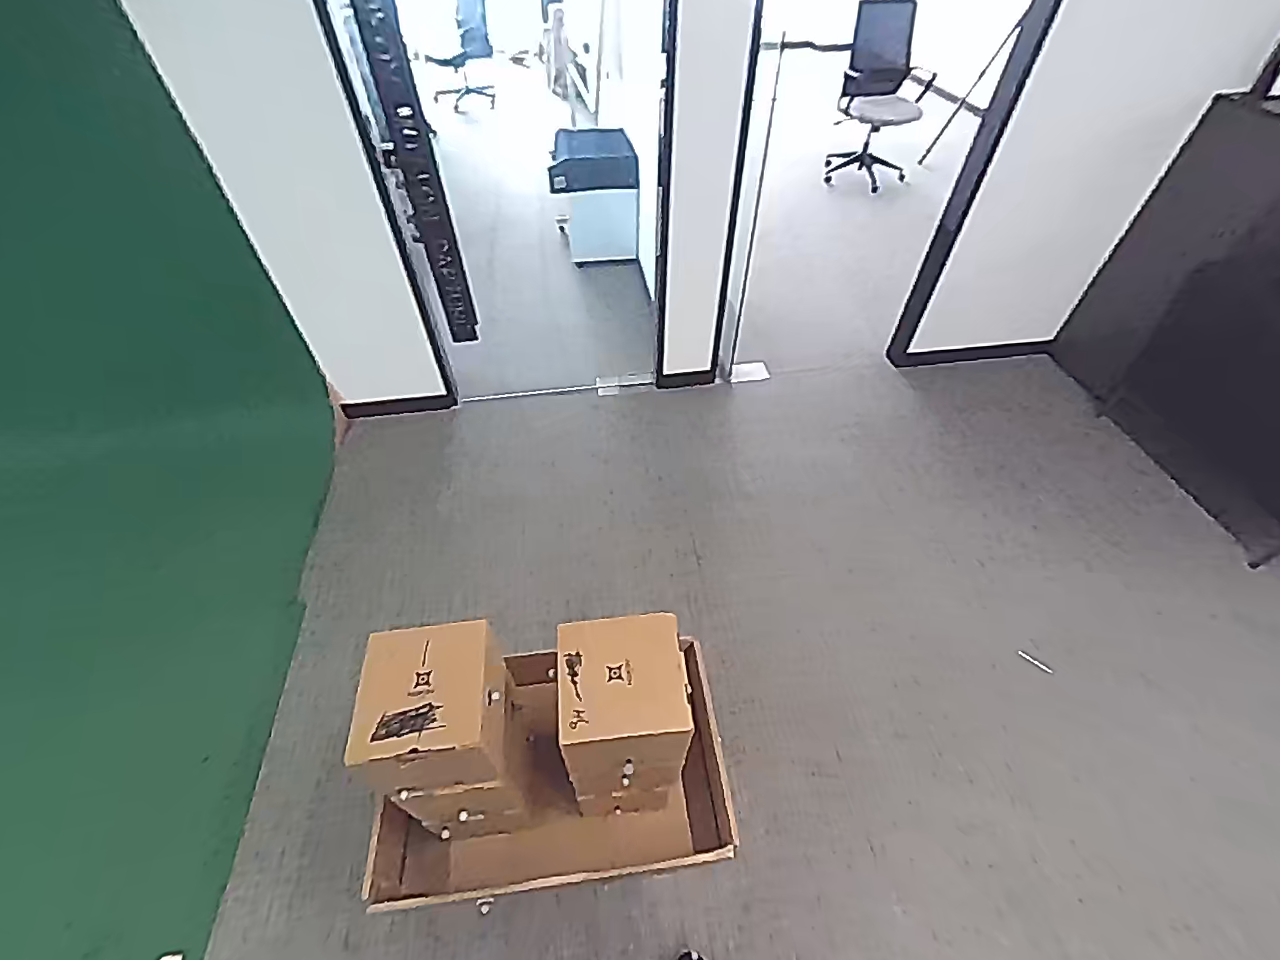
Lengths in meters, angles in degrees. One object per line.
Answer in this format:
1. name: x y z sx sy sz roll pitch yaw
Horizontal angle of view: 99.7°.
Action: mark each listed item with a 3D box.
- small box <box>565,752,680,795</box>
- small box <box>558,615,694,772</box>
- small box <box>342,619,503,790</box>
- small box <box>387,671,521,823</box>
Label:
1. small box: -0.032 0.421 0.917 0.179 0.176 0.168 -3 50 -5
2. small box: -0.028 0.314 0.792 0.179 0.176 0.168 -3 50 -6
3. small box: -0.292 0.324 0.770 0.168 0.176 0.179 -5 48 -7
4. small box: -0.291 0.439 0.889 0.168 0.176 0.179 -5 48 -5
